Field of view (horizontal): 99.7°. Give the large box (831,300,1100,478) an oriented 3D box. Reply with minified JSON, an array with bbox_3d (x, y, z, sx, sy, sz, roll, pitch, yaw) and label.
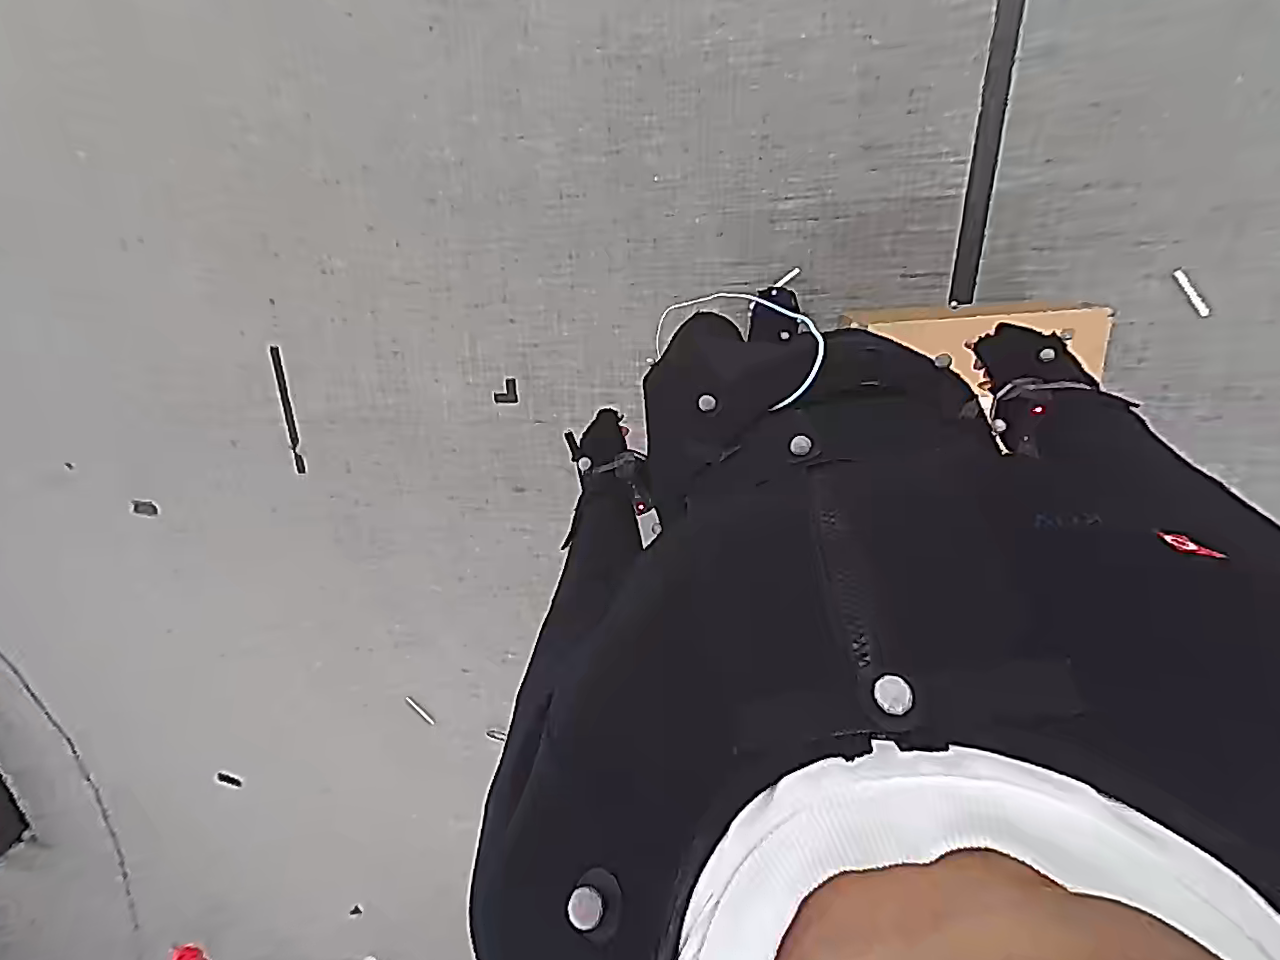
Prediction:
[{"bbox_3d":[0.641,-0.204,1.158,0.408,0.320,0.320,-1,111,11],"label":"large box"}]
